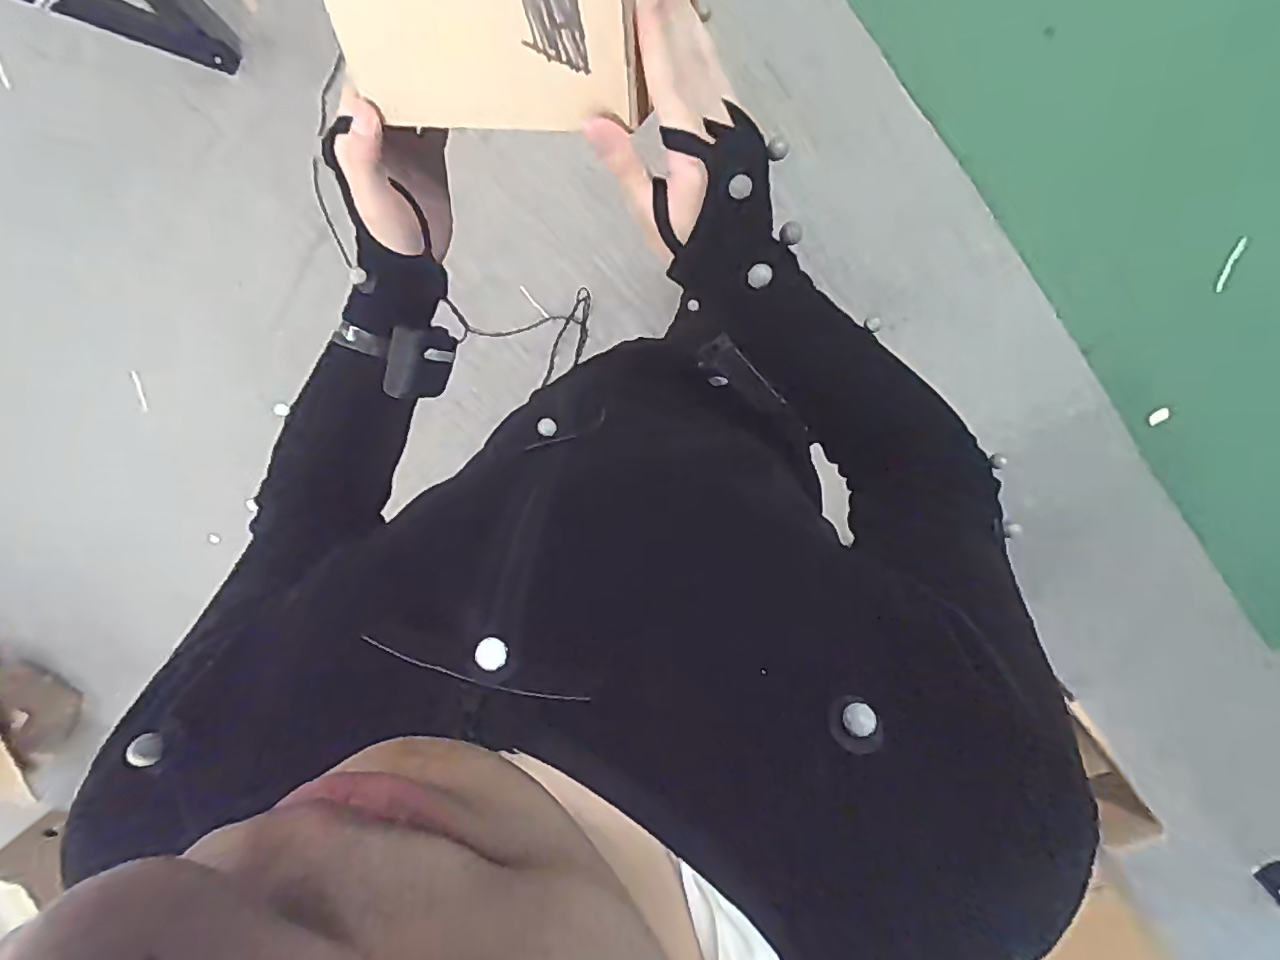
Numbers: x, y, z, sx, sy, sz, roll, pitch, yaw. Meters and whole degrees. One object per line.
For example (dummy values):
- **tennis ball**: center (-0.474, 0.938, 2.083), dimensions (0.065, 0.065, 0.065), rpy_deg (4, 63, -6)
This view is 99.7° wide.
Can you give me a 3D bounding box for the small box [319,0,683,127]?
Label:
- **small box**: center (-0.073, -0.324, 0.306), dimensions (0.179, 0.176, 0.168), rpy_deg (11, 142, 13)
